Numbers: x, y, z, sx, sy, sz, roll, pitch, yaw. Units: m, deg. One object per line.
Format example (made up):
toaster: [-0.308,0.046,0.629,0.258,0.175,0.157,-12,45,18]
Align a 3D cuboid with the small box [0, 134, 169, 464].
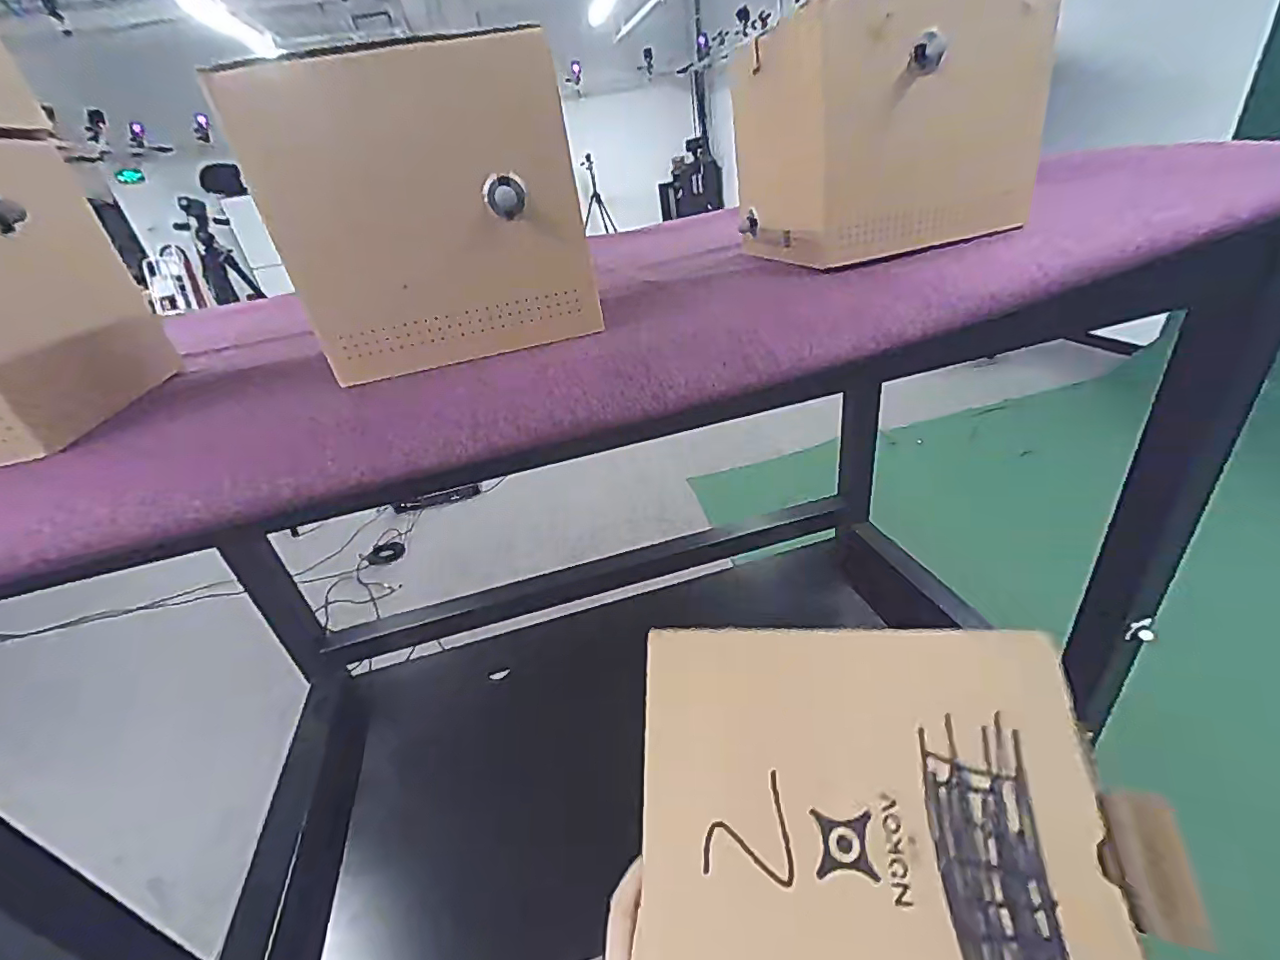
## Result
small box: [-0.445,-0.103,0.324,0.168,0.176,0.179,-14,32,-9]

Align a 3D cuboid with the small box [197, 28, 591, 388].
small box: [-0.138,-0.183,0.378,0.179,0.176,0.168,-16,31,-9]

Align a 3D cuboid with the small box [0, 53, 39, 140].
small box: [-0.465,-0.240,0.240,0.179,0.176,0.168,-14,33,-10]

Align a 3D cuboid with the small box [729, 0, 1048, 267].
small box: [0.189,-0.283,0.446,0.179,0.176,0.168,-14,29,-7]
